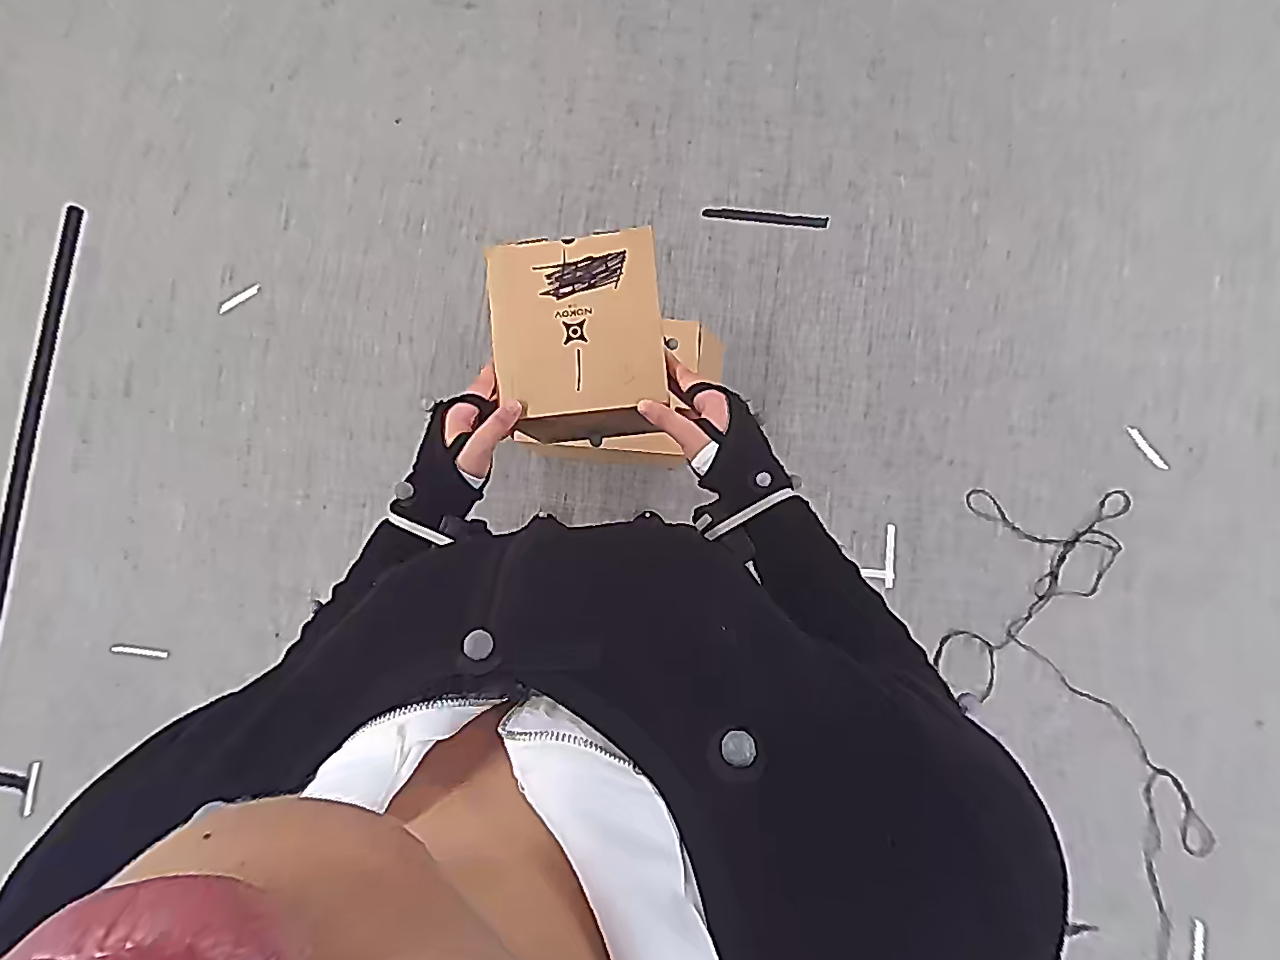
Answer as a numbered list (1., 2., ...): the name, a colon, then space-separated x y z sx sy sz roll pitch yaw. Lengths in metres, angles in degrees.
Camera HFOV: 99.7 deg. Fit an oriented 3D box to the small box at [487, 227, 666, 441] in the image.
1. small box: -0.060 -0.147 0.600 0.168 0.176 0.179 -5 86 4
